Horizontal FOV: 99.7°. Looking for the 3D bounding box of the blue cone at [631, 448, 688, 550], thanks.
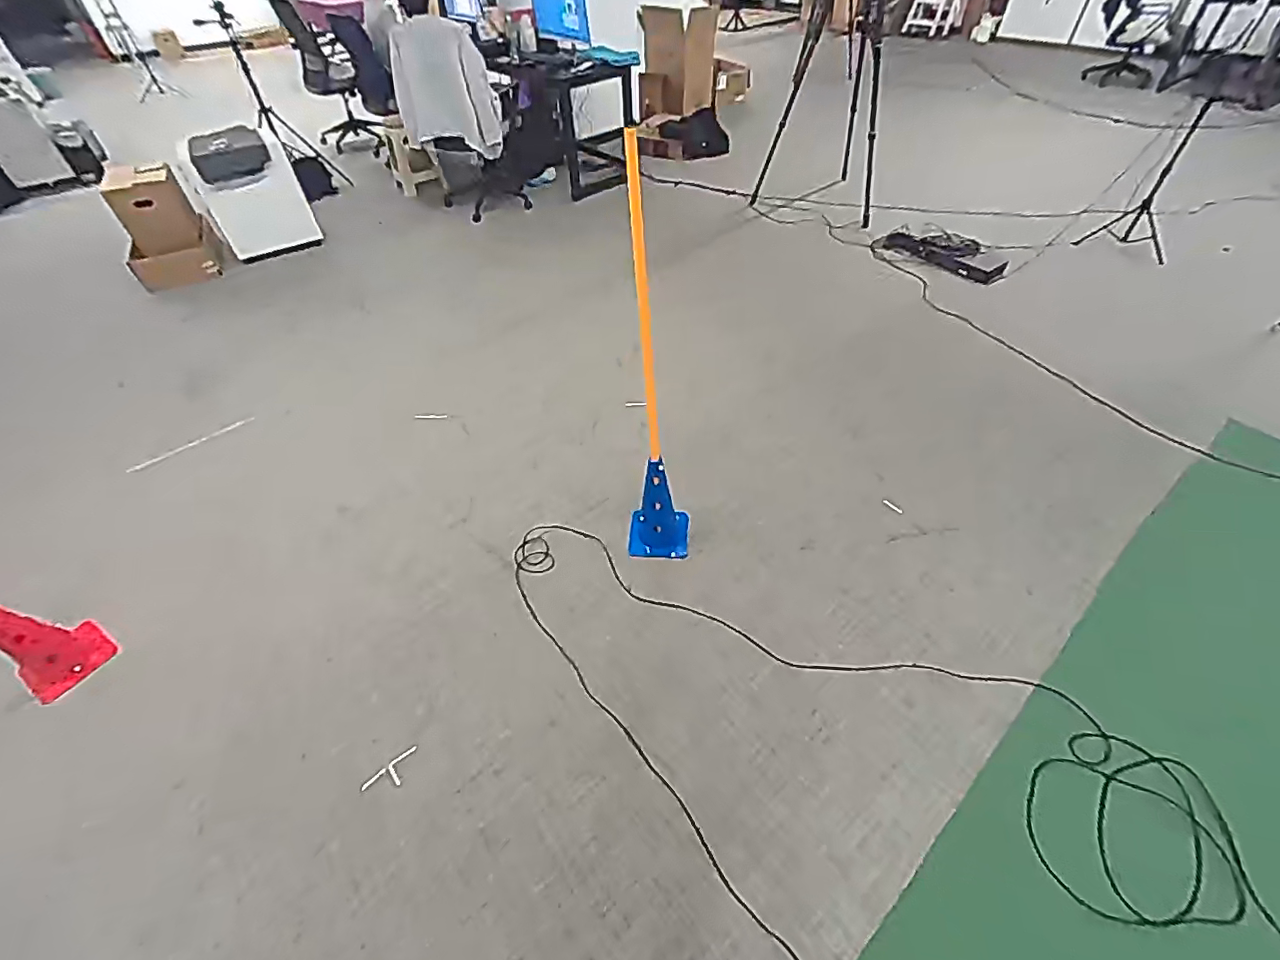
[{"bbox_3d":[0.060,0.049,1.736,0.192,0.380,0.193,1,45,5],"label":"blue cone"}]
